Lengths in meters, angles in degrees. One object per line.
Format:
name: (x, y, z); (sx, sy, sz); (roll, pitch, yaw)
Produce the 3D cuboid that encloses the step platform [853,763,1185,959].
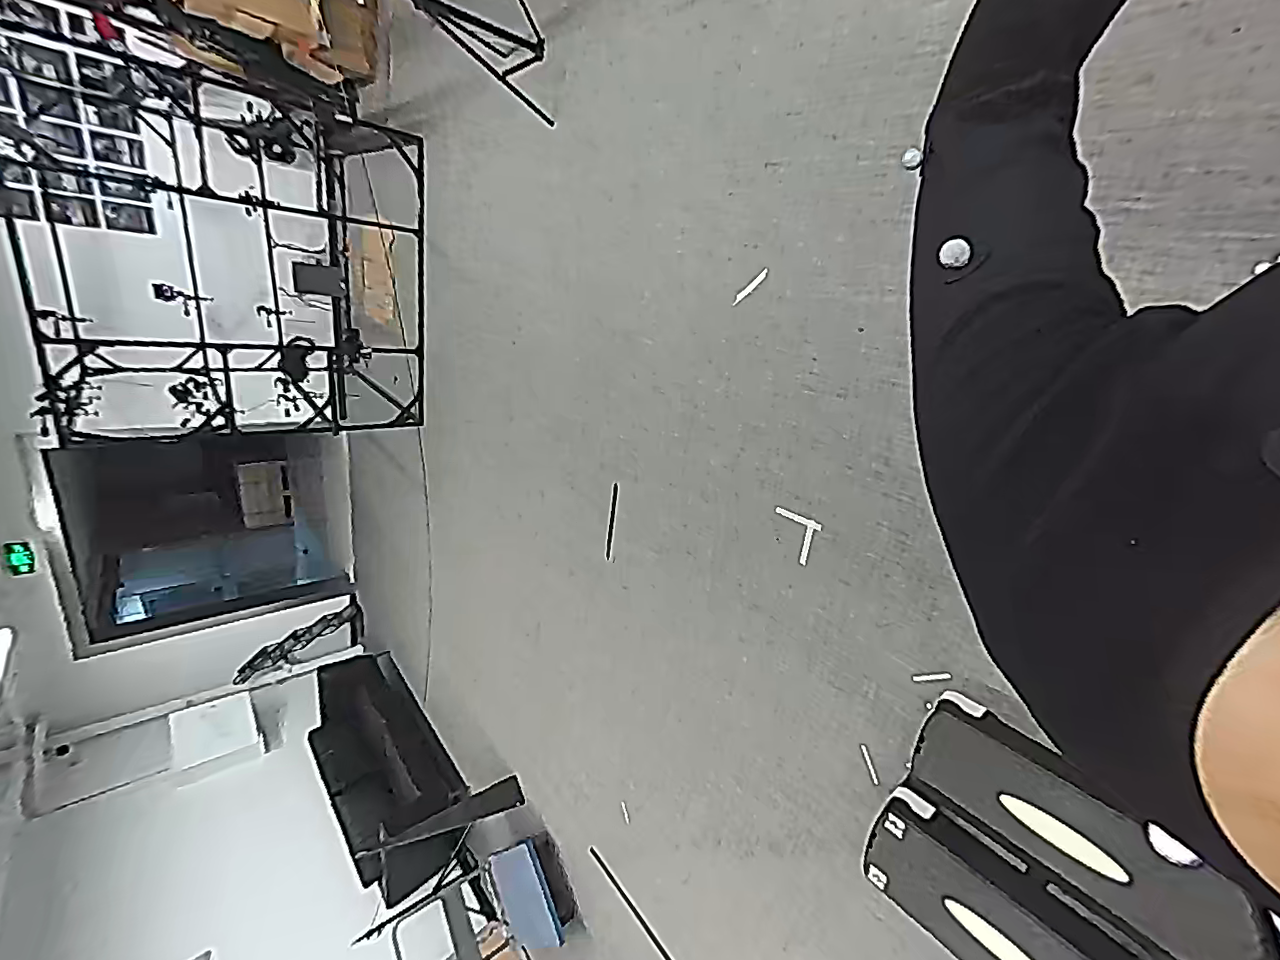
step platform: (0.902, 1.074, 1.371); (0.684, 0.204, 0.286); (27, 117, 45)
